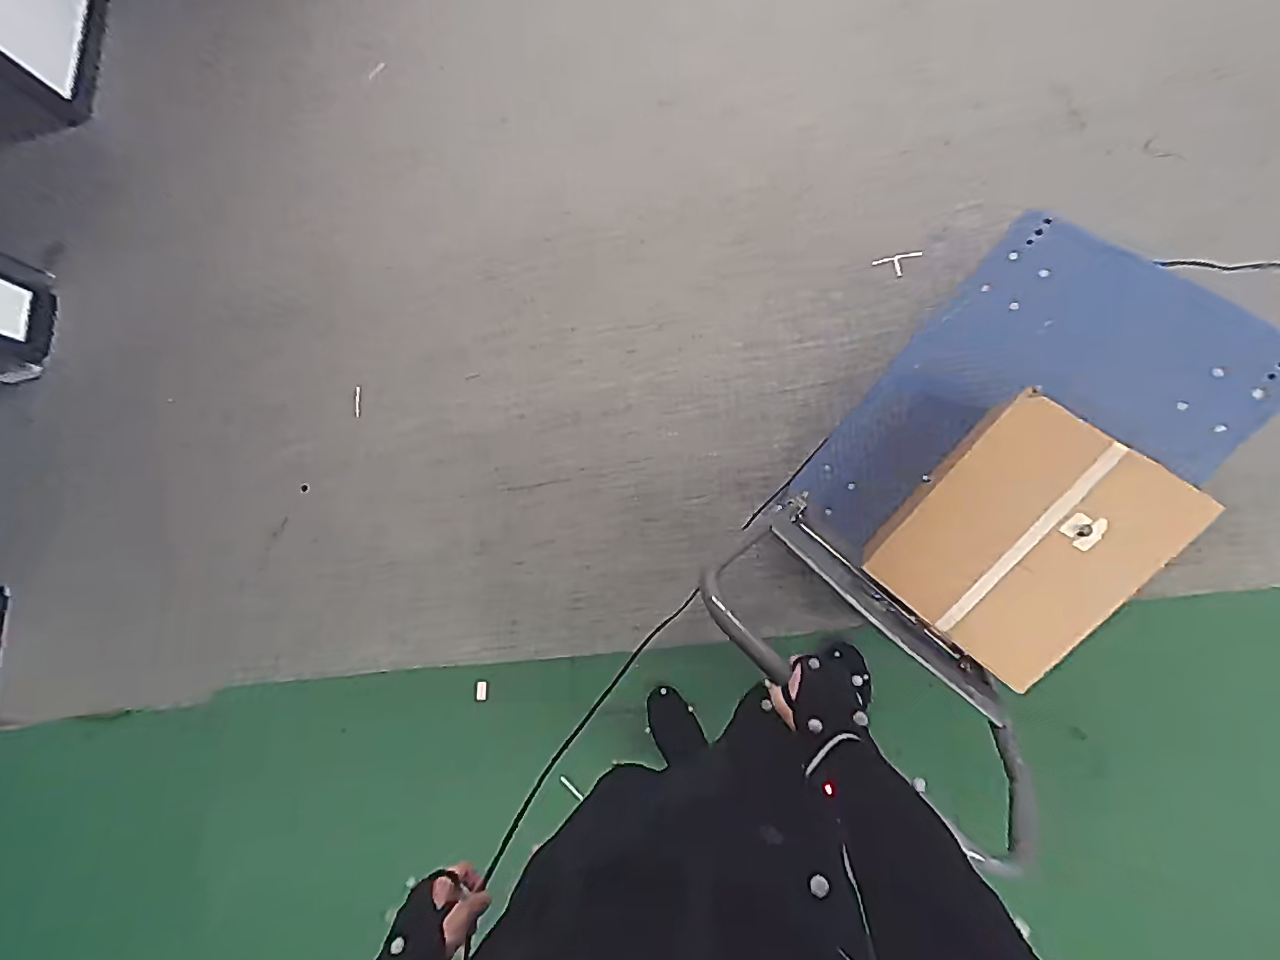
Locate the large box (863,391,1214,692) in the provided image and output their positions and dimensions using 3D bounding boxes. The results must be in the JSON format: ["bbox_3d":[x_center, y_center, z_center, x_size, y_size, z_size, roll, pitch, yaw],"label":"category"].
[{"bbox_3d":[0.680,0.105,1.020,0.320,0.320,0.408,42,104,18],"label":"large box"}]
